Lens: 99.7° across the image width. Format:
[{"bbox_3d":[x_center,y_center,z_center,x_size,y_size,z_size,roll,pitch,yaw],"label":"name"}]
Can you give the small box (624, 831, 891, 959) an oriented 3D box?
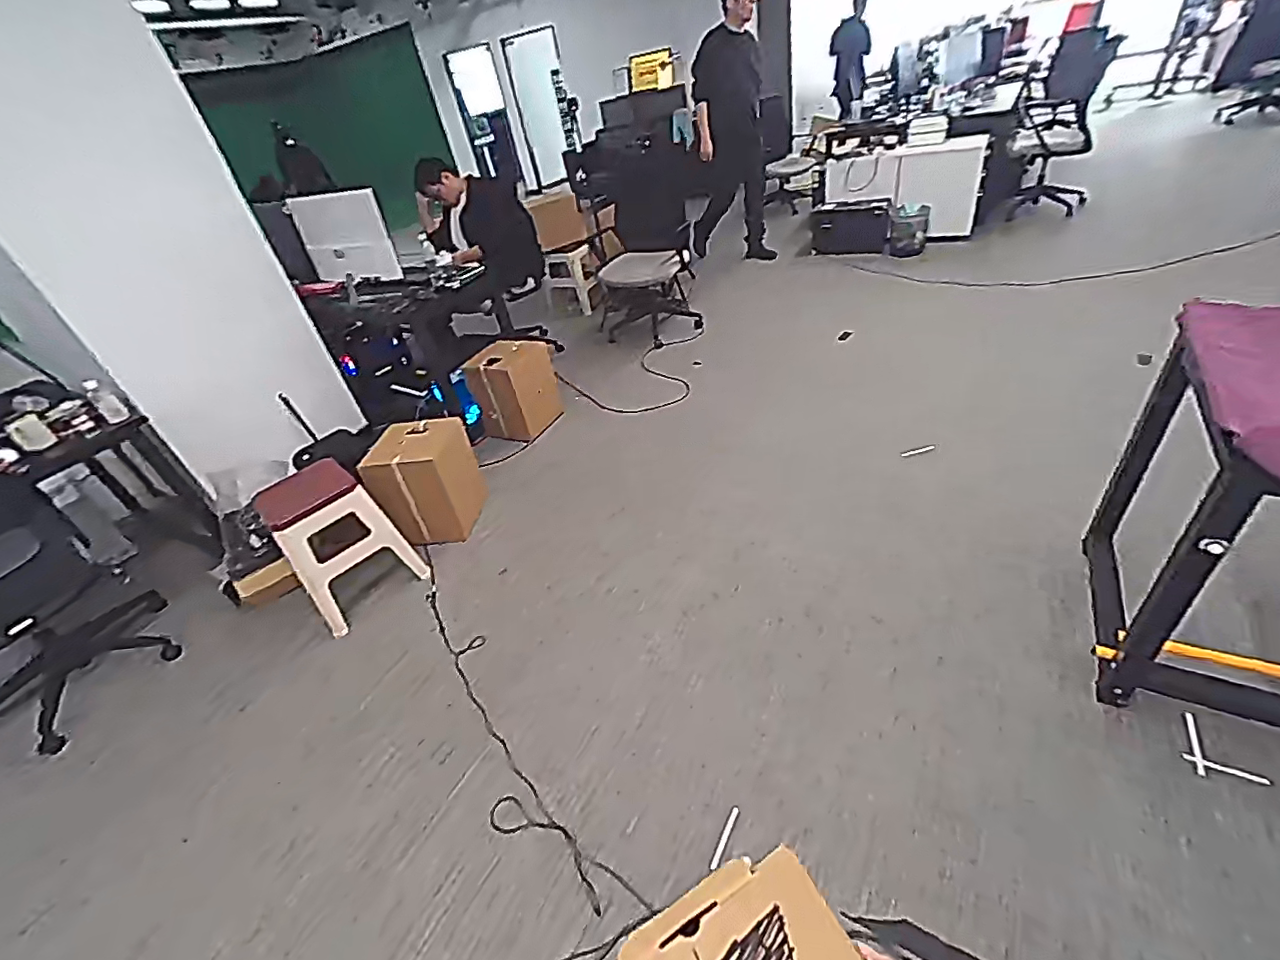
[{"bbox_3d":[0.097,0.378,0.364,0.168,0.176,0.179,-30,54,-10],"label":"small box"}]
